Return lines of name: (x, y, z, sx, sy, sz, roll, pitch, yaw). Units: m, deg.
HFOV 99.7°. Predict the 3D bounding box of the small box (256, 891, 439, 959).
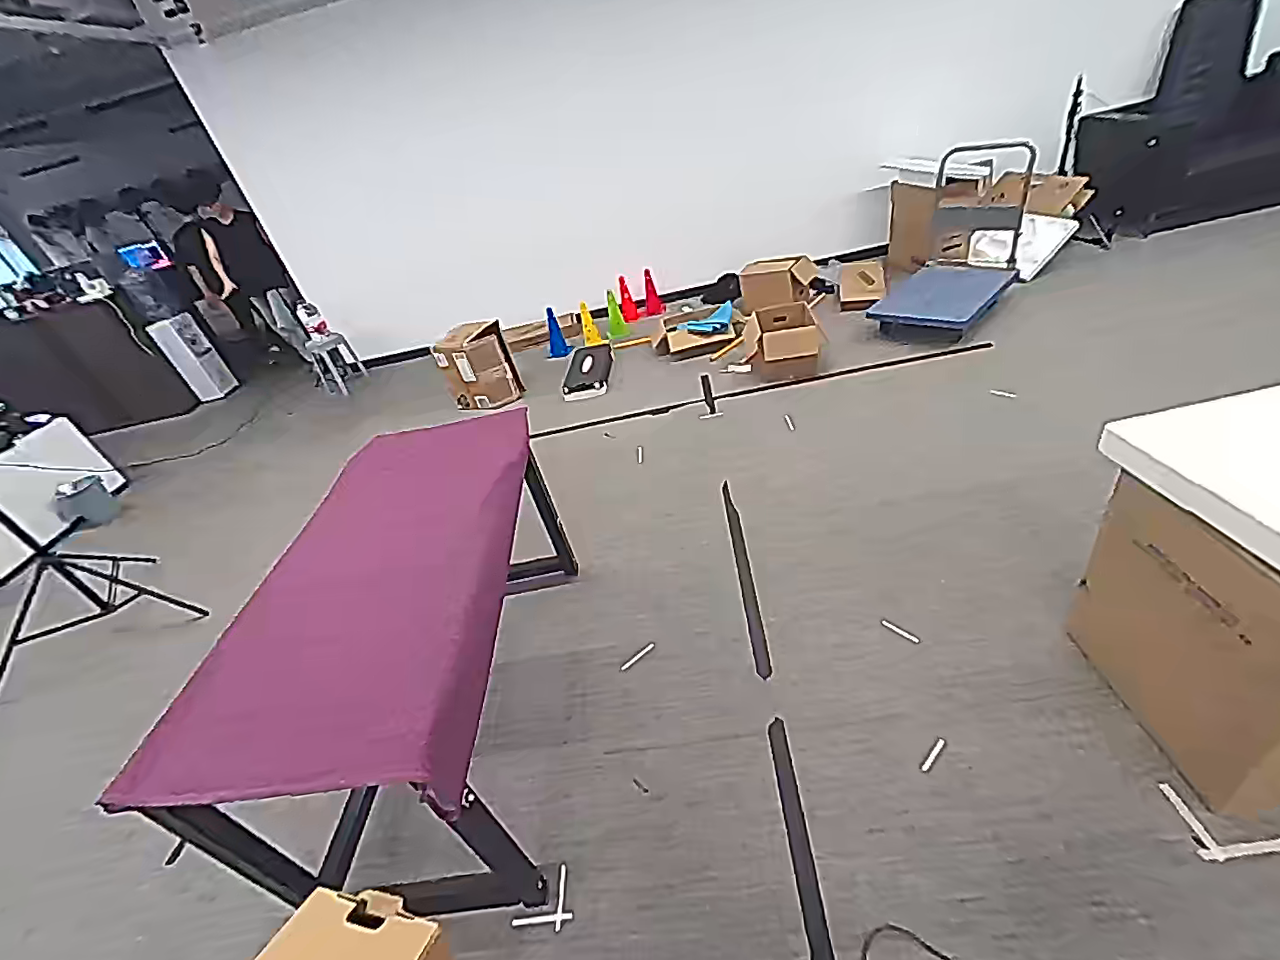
small box: (-0.276, 0.528, 0.482, 0.168, 0.176, 0.179, -4, 18, 22)
